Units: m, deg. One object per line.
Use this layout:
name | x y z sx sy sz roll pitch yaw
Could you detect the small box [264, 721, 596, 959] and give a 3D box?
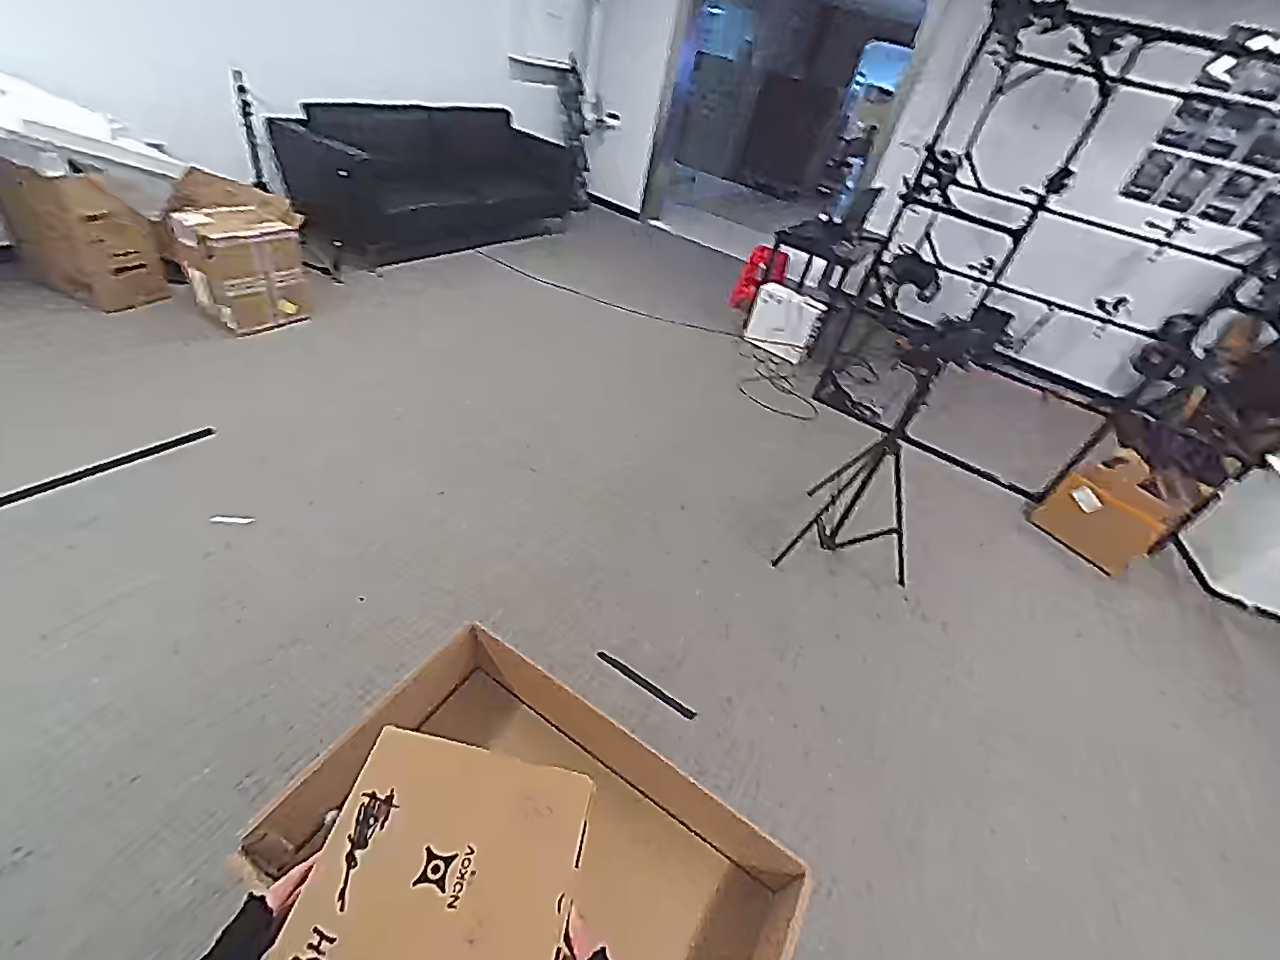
small box | -0.147 0.321 0.427 0.179 0.176 0.168 15 44 -1
